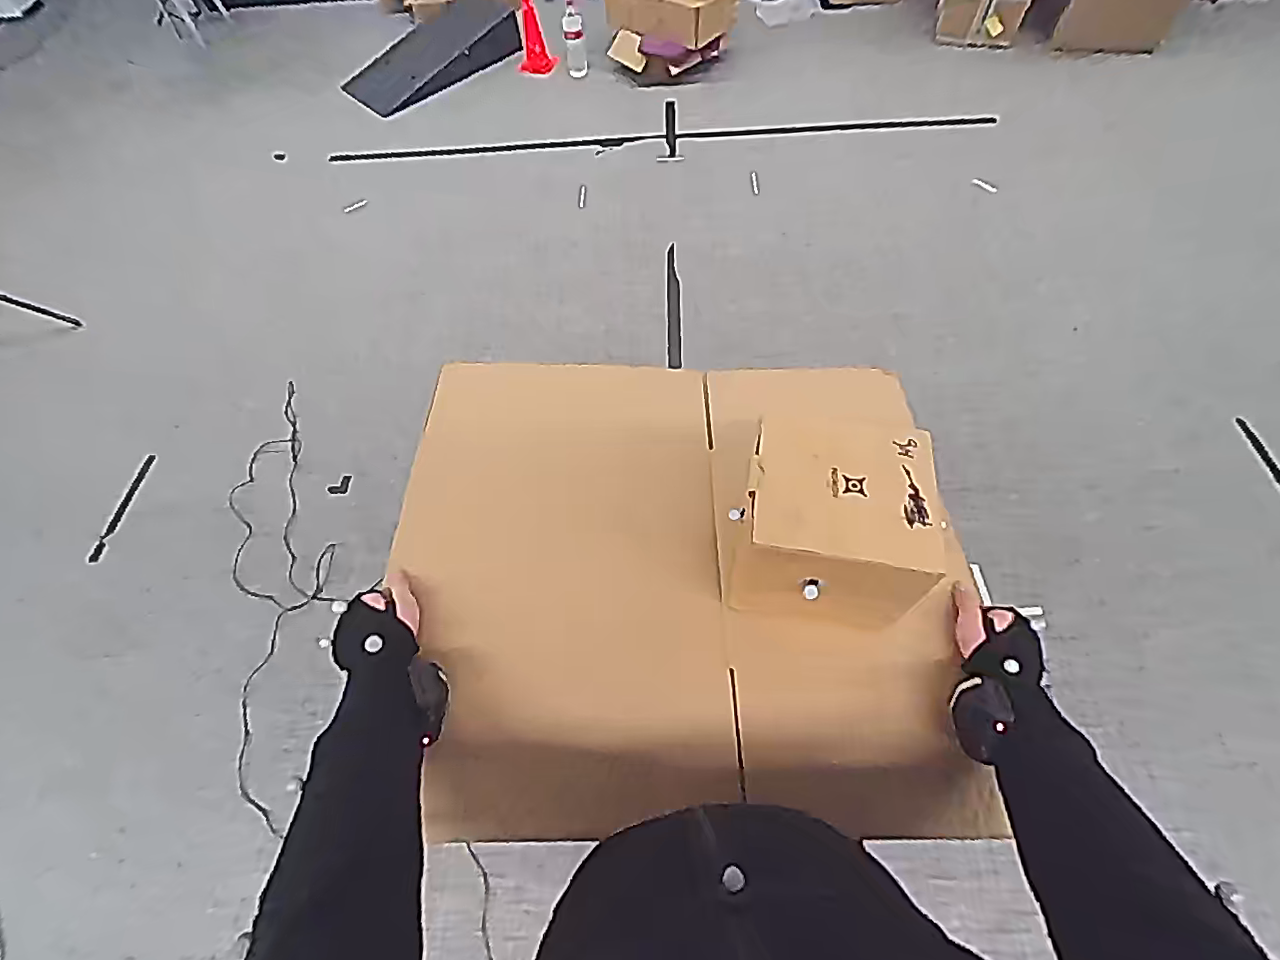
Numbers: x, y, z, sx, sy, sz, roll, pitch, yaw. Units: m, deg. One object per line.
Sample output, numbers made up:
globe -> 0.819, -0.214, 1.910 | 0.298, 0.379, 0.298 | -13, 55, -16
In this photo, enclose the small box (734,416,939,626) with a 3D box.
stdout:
small box -> 0.203, 0.051, 0.606 | 0.179, 0.176, 0.168 | 7, 58, 8
